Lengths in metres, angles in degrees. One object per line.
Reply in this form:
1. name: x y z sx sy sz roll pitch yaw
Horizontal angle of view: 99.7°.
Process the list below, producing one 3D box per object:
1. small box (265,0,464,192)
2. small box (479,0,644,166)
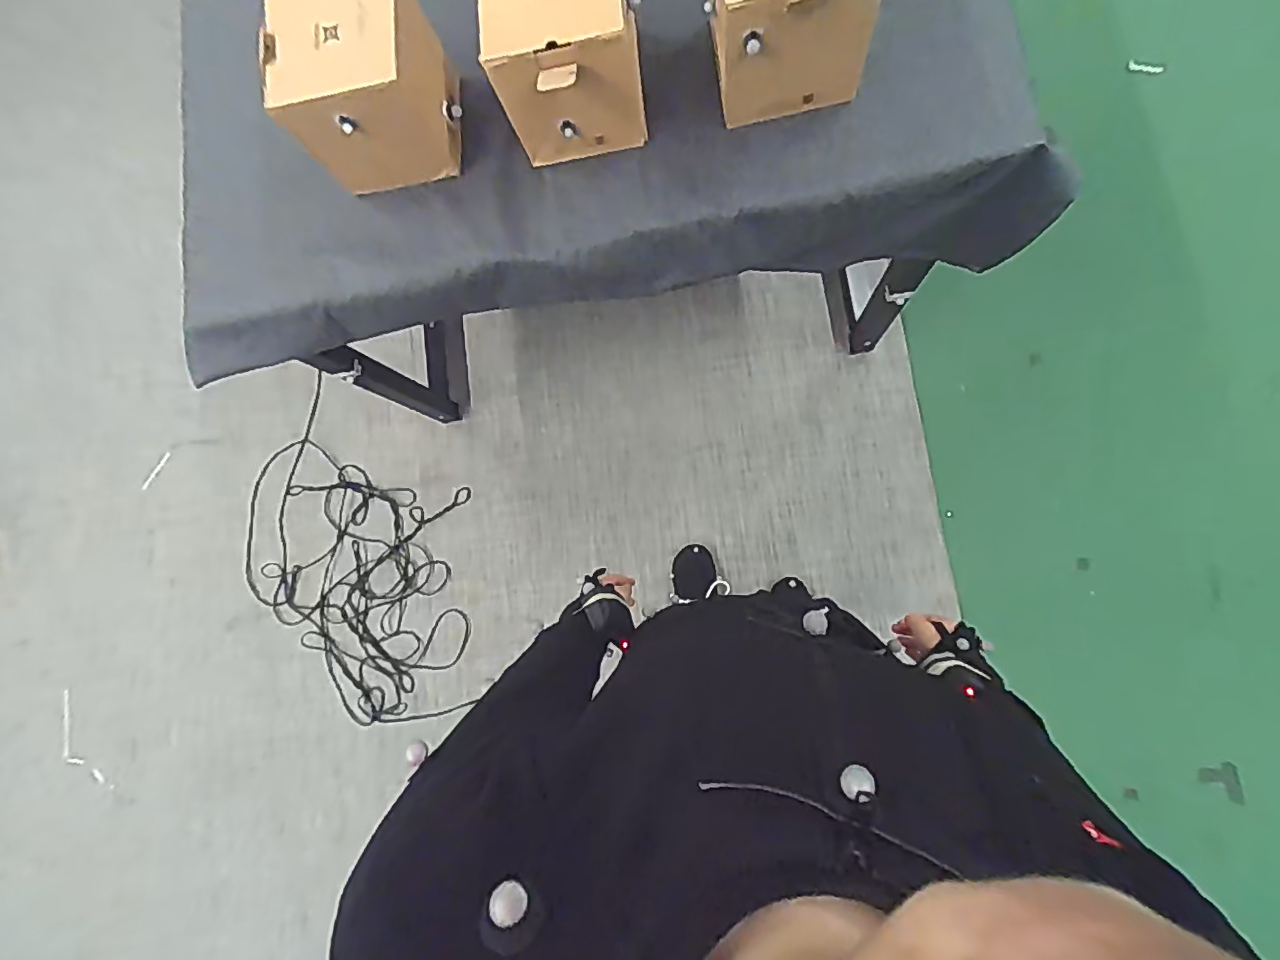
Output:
1. small box: -0.357 -0.516 0.722 0.179 0.176 0.168 -6 83 7
2. small box: -0.091 -0.543 0.684 0.168 0.176 0.179 -7 82 8
